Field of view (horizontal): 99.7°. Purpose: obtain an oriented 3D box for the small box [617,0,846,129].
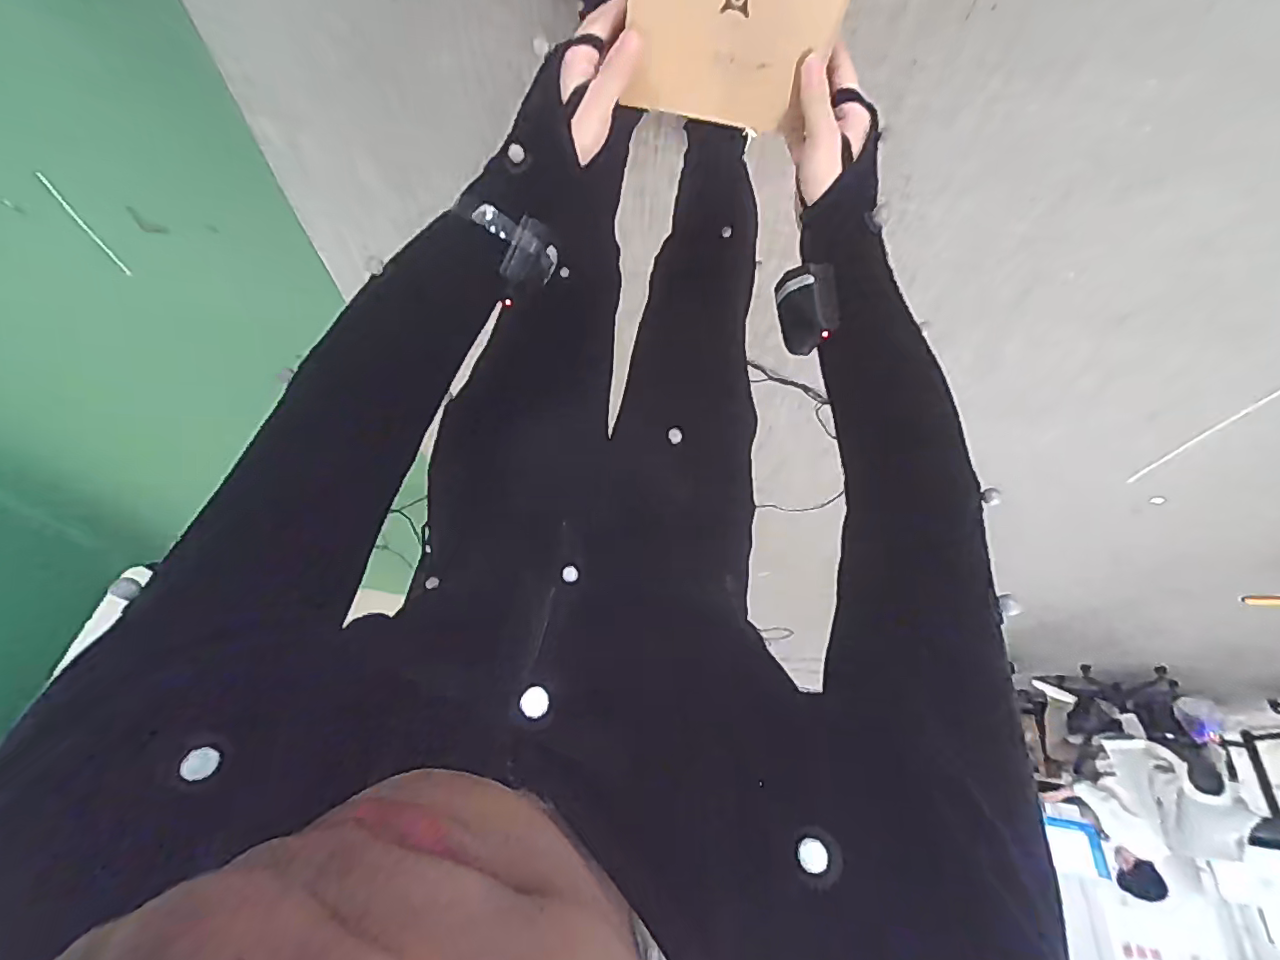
[{"bbox_3d":[0.080,-0.432,0.447,0.168,0.176,0.179,10,141,-4],"label":"small box"}]
